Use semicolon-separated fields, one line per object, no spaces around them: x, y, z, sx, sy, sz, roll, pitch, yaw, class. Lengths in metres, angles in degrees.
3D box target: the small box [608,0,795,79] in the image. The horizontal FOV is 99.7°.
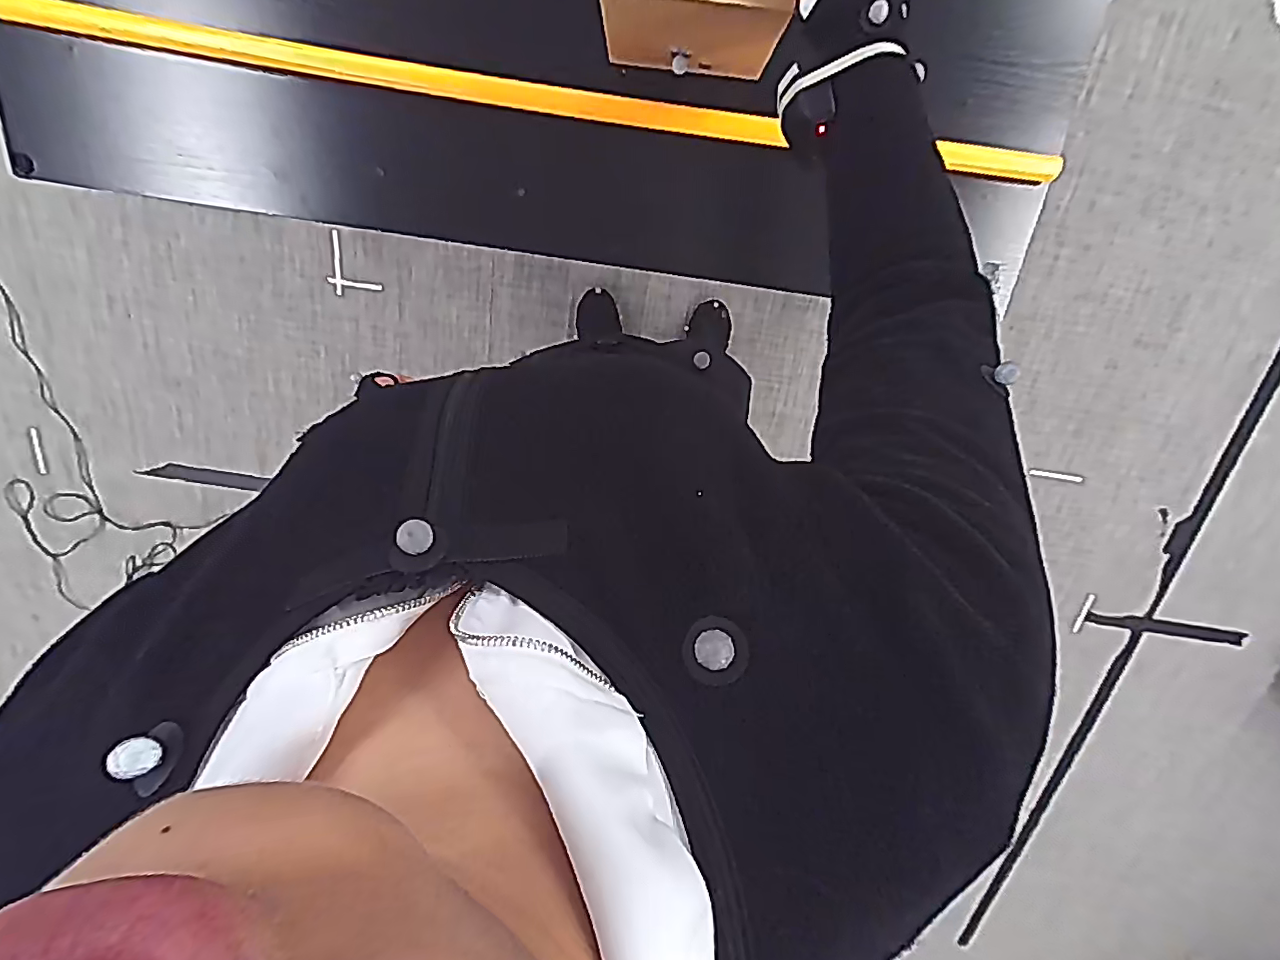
0.058;-0.507;0.494;0.168;0.176;0.179;6;111;-1;small box
